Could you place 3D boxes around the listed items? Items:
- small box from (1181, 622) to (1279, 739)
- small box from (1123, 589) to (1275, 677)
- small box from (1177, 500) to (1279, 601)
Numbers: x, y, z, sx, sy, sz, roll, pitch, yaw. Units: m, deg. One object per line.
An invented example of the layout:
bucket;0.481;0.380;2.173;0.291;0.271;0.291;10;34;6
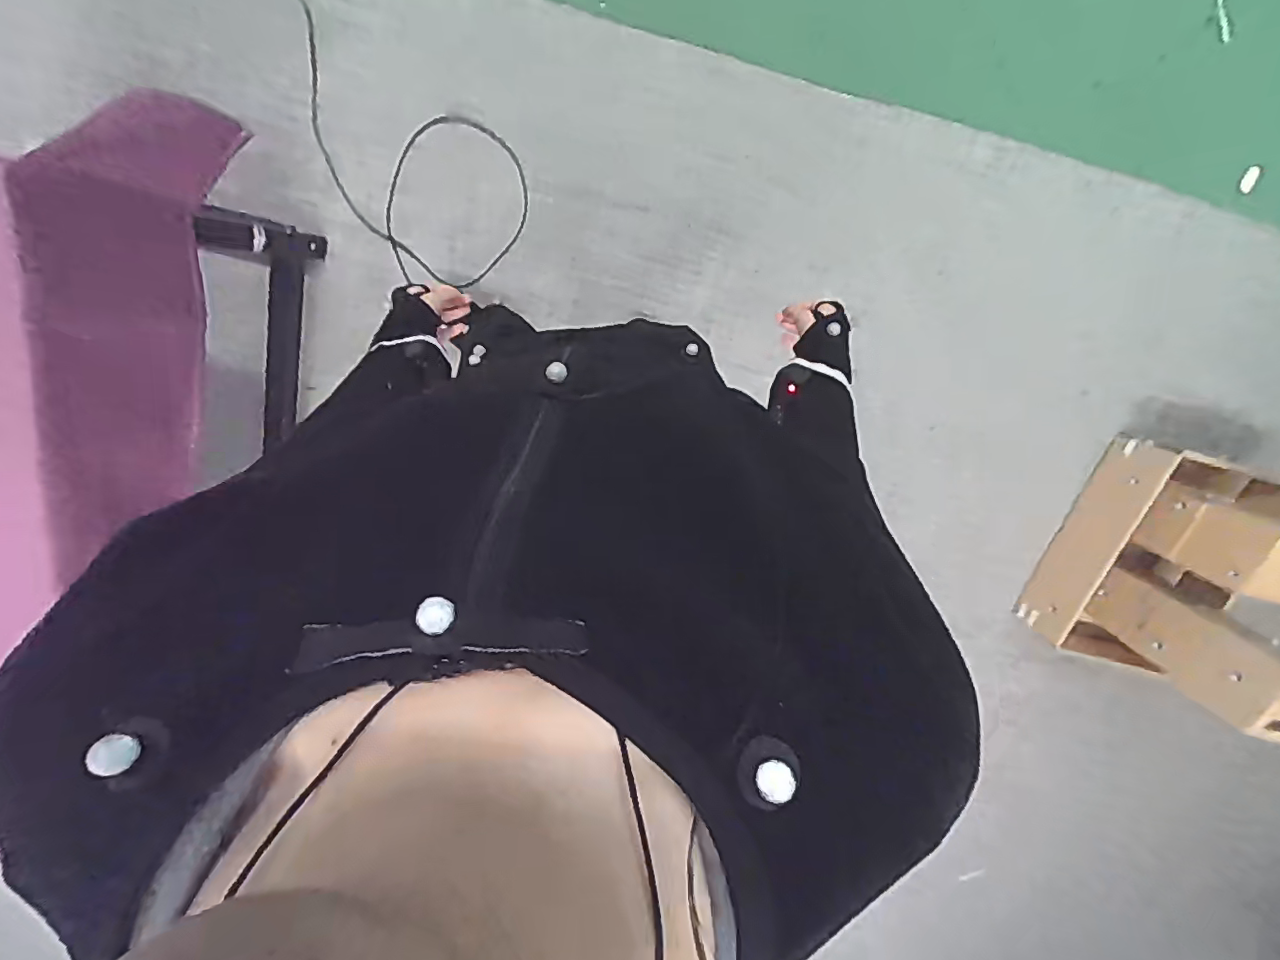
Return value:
small box;1.404;0.456;1.226;0.168;0.176;0.179;16;107;-5
small box;1.410;0.400;1.380;0.179;0.176;0.168;15;108;-6
small box;1.475;0.167;1.301;0.168;0.176;0.179;13;110;-4
